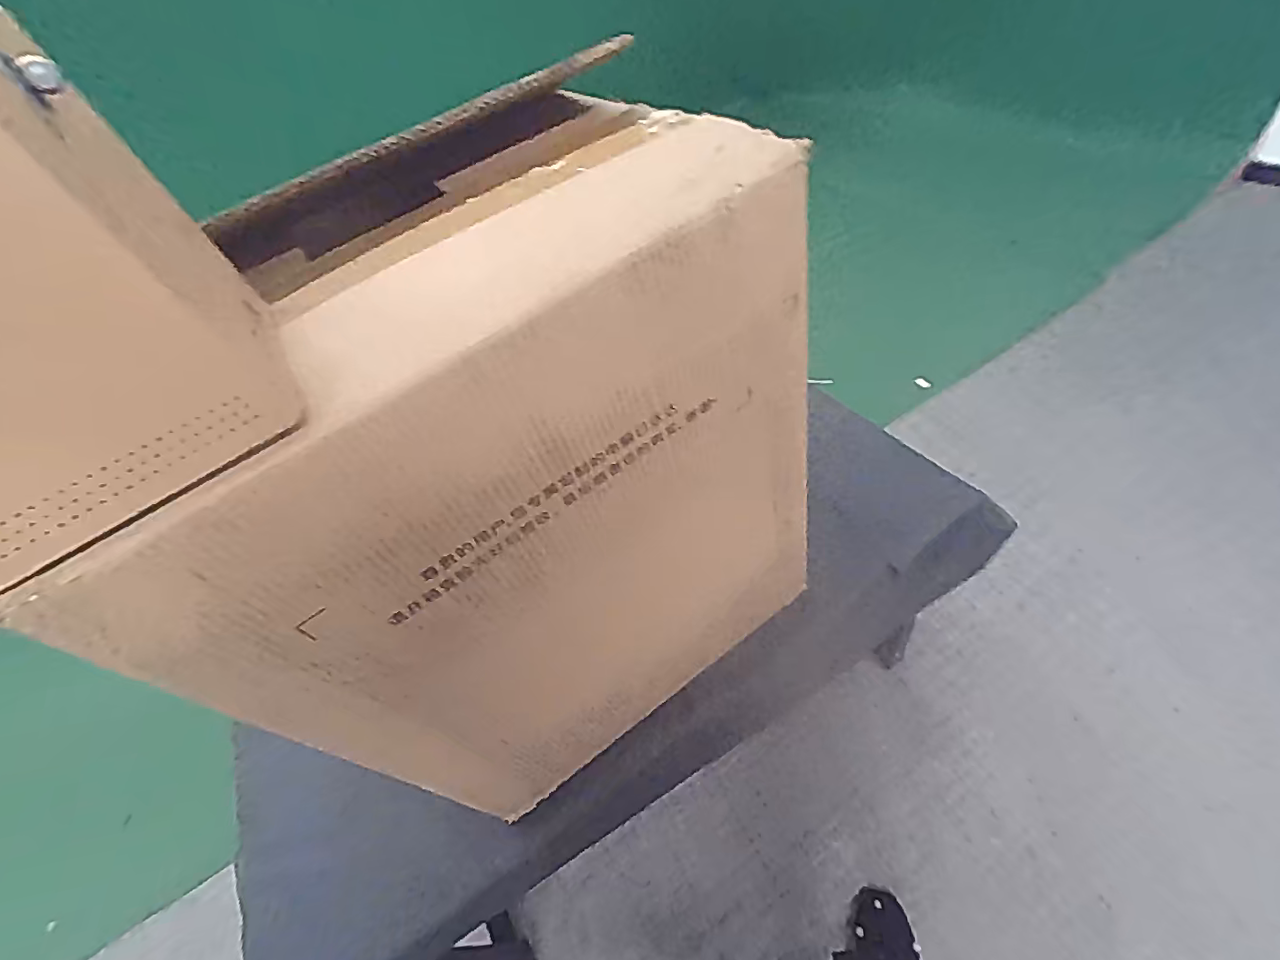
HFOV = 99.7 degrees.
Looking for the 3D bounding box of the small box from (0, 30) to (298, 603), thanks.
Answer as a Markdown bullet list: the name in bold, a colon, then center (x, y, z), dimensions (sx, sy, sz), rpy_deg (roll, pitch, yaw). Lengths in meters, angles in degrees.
- **small box**: center (-0.304, -0.067, 0.248), dimensions (0.179, 0.176, 0.168), rpy_deg (-35, 52, -11)
